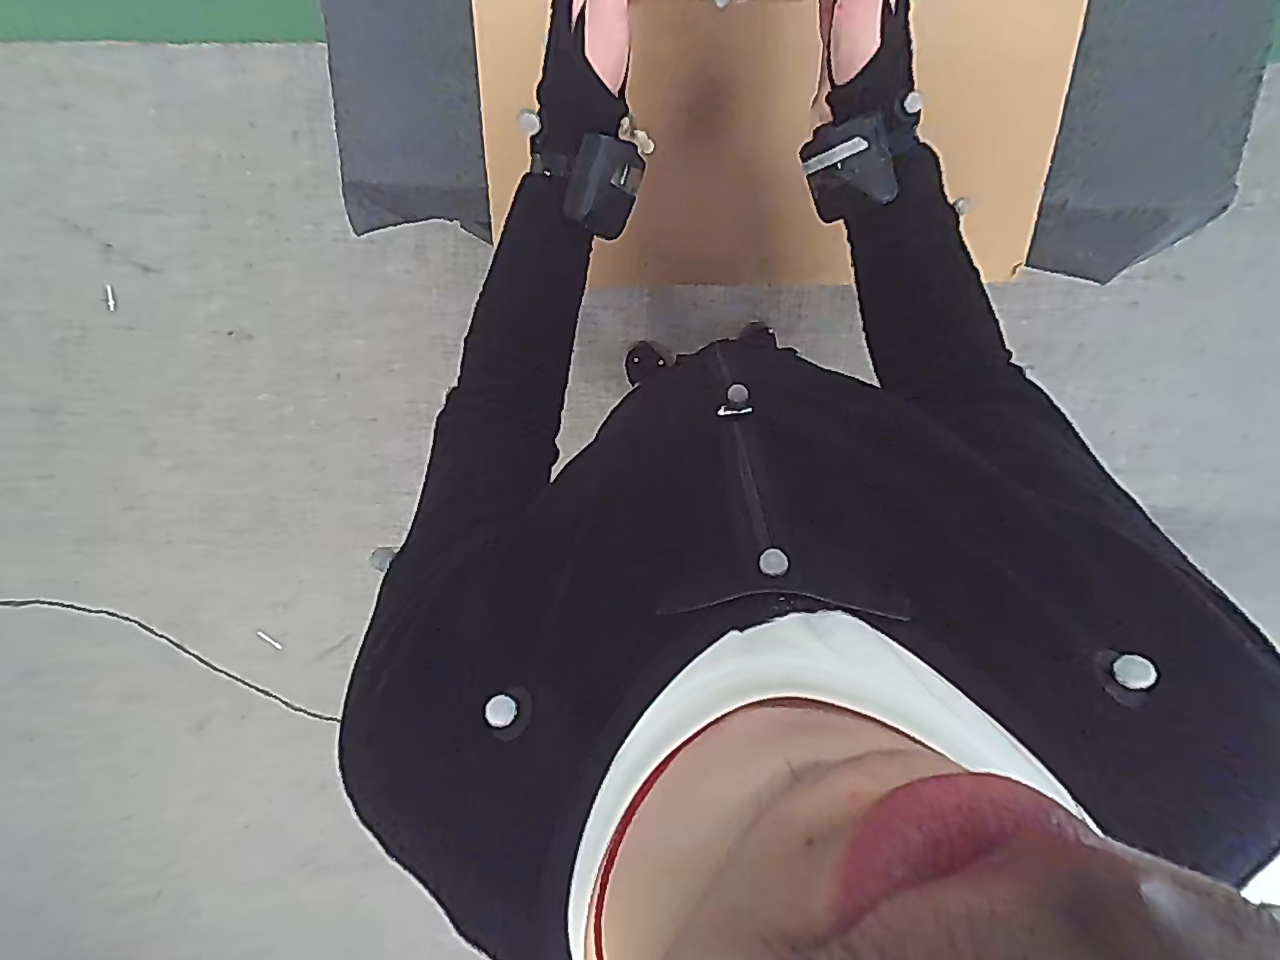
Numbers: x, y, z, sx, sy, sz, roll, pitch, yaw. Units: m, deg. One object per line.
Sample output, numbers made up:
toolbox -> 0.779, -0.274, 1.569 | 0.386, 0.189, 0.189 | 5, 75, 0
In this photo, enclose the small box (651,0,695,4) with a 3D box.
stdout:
small box -> 0.064, -0.455, 0.367 | 0.168, 0.176, 0.179 | -2, 120, 4
